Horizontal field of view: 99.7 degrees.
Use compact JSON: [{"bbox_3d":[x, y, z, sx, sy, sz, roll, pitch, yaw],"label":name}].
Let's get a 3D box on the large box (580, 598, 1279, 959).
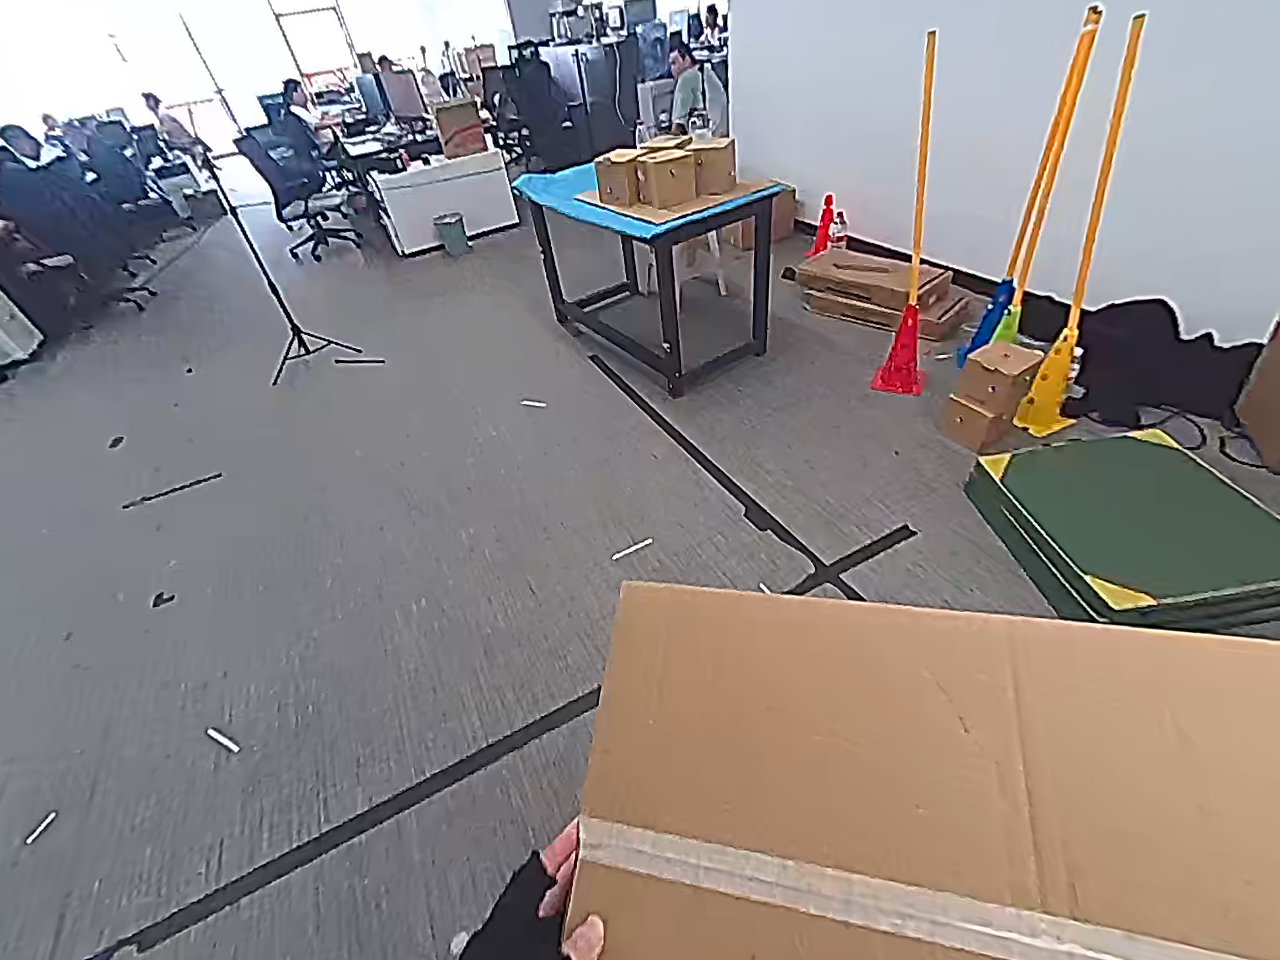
[{"bbox_3d":[0.198,0.293,0.403,0.408,0.320,0.320,2,64,17],"label":"large box"}]
